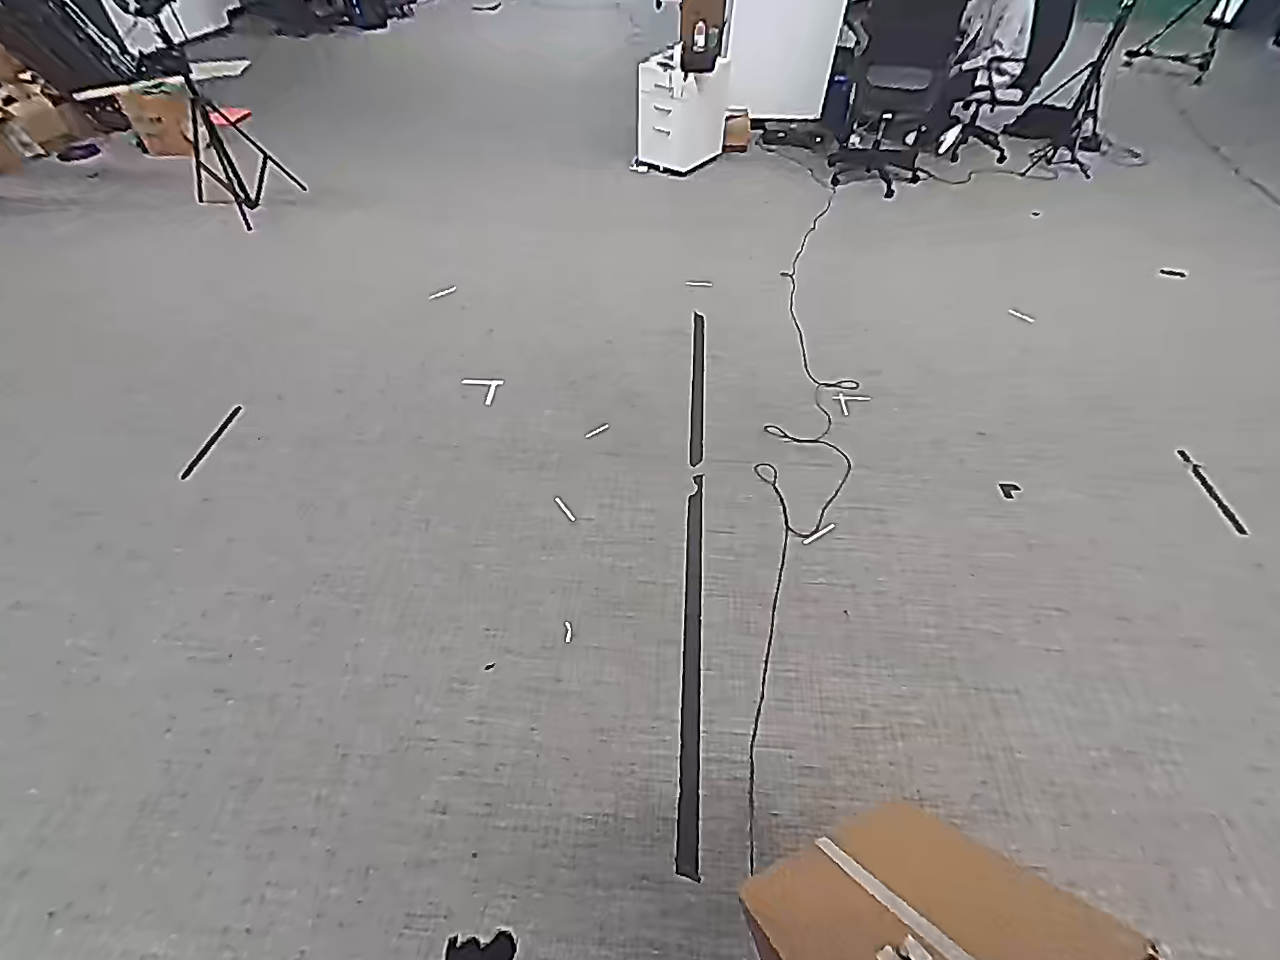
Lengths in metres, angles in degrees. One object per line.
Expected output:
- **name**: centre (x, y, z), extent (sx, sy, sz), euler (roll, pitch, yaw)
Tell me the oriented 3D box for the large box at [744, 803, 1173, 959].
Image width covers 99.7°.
- **large box**: centre (0.385, 0.682, 0.654), extent (0.320, 0.408, 0.320), euler (-20, 84, -14)
